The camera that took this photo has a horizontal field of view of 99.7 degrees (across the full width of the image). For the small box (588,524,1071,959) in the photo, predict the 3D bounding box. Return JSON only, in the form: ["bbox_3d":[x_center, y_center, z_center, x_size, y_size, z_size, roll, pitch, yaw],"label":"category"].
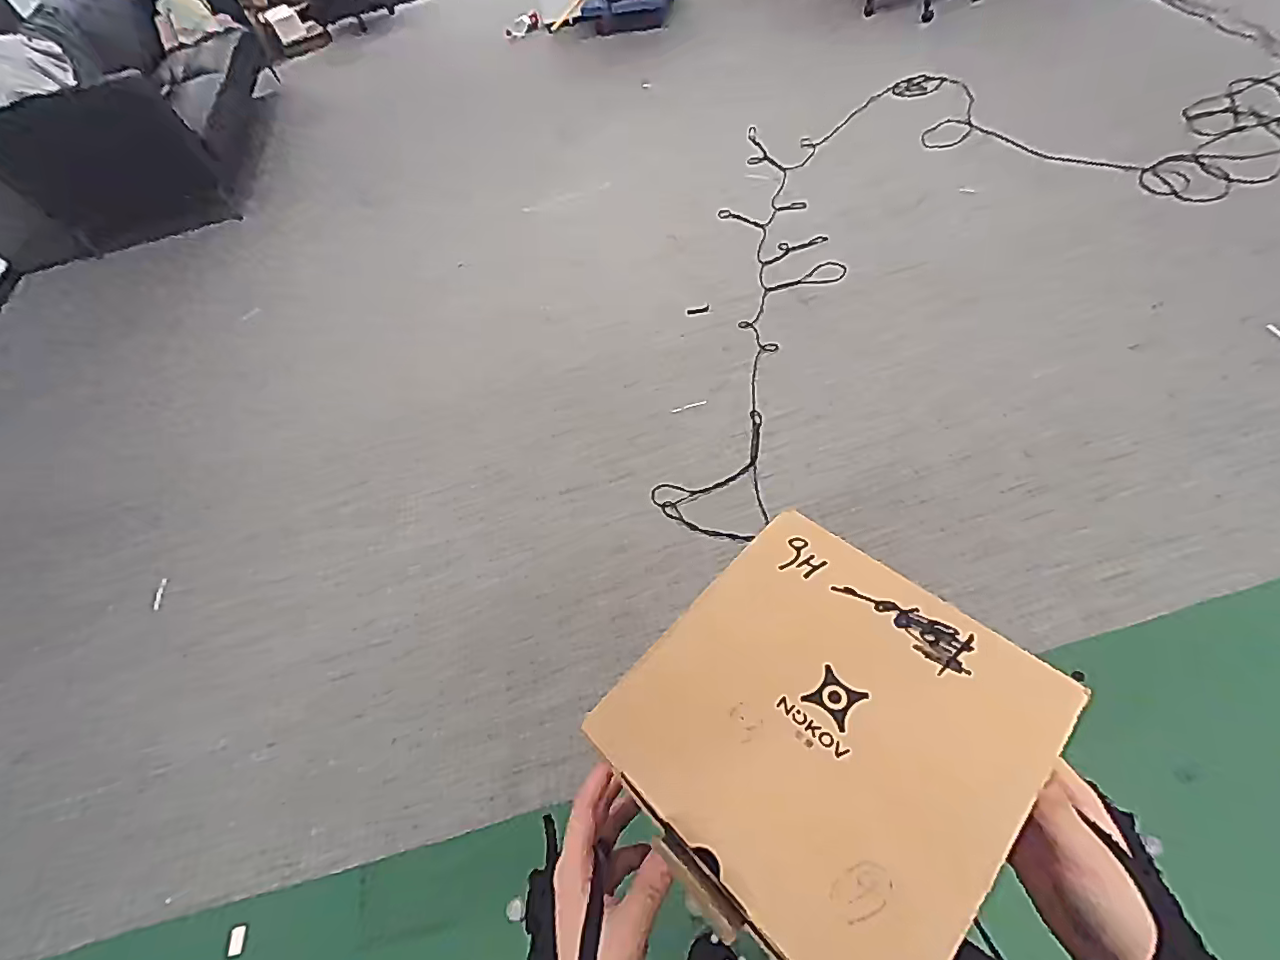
[{"bbox_3d":[0.100,0.168,0.326,0.168,0.176,0.179,35,65,31],"label":"small box"}]
